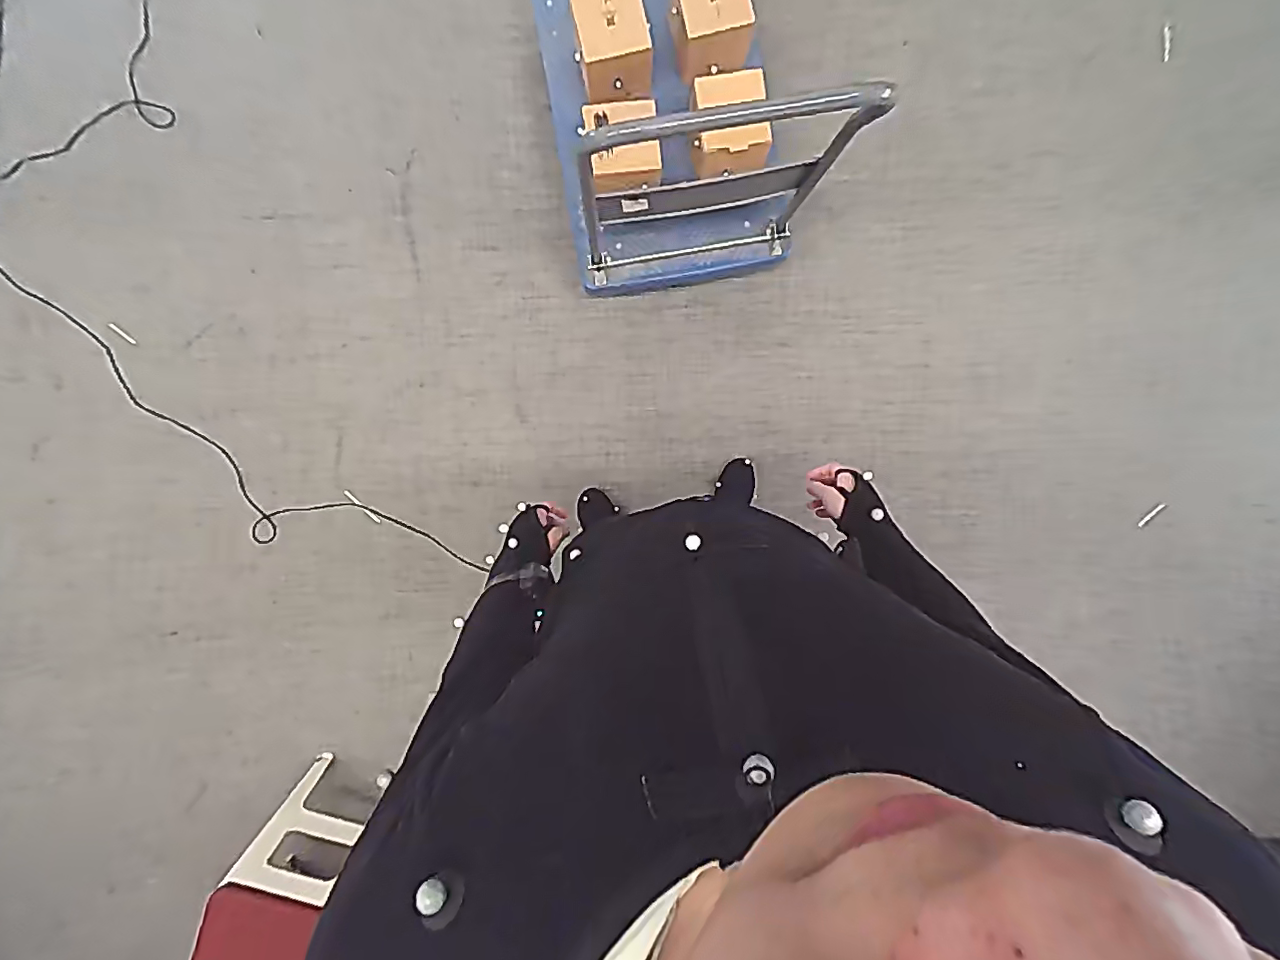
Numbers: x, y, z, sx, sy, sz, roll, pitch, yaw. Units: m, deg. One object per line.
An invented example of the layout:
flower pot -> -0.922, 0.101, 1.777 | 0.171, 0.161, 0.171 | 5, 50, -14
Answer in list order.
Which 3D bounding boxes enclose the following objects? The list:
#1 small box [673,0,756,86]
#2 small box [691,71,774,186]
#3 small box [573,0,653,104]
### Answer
small box -> 0.181, -1.152, 1.365 | 0.168, 0.176, 0.179 | -13, 92, 1
small box -> 0.228, -0.886, 1.374 | 0.168, 0.176, 0.179 | -9, 92, 0
small box -> -0.064, -1.093, 1.367 | 0.168, 0.176, 0.179 | -13, 92, -1
